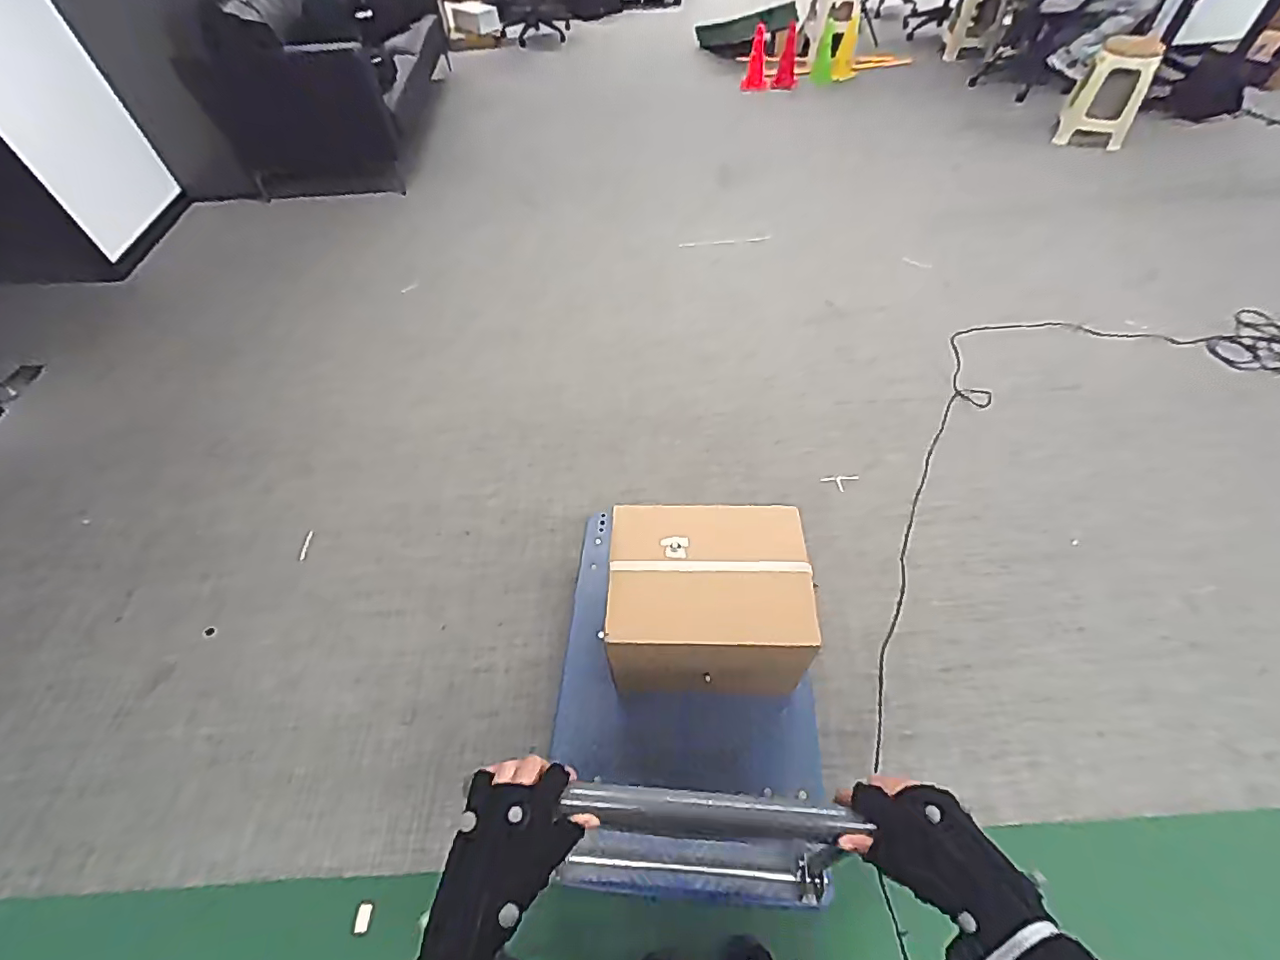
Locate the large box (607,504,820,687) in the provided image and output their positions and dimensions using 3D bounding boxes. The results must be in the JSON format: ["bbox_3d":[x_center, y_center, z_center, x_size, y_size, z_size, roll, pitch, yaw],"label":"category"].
[{"bbox_3d":[0.148,0.269,1.218,0.408,0.320,0.320,-1,52,3],"label":"large box"}]
